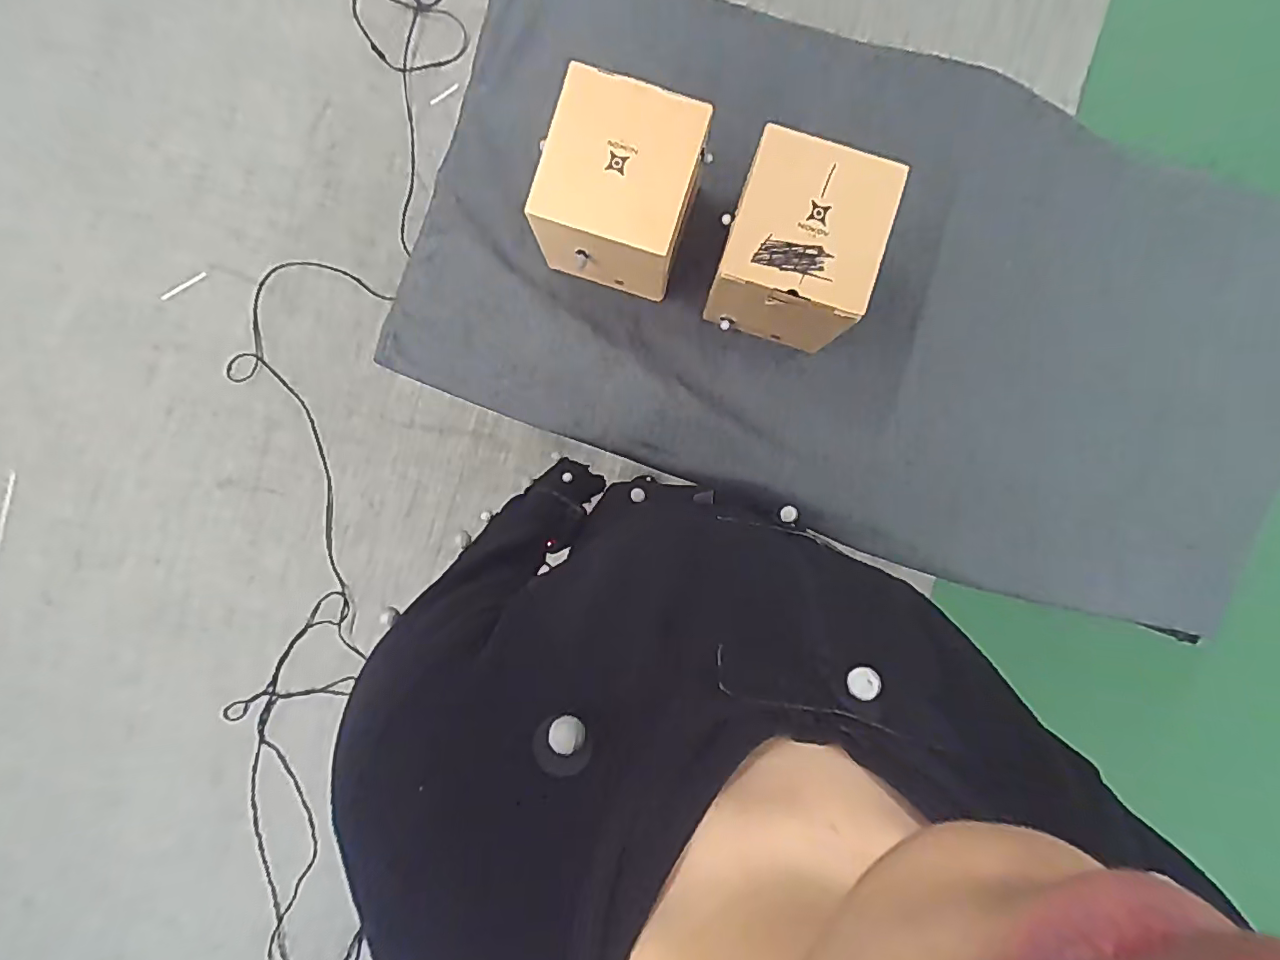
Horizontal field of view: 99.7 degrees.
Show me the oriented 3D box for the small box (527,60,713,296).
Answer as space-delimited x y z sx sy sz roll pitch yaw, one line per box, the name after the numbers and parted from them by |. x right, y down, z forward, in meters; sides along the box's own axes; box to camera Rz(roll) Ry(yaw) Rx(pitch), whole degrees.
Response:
-0.020 -0.351 0.666 0.168 0.176 0.179 17 90 0 | small box
